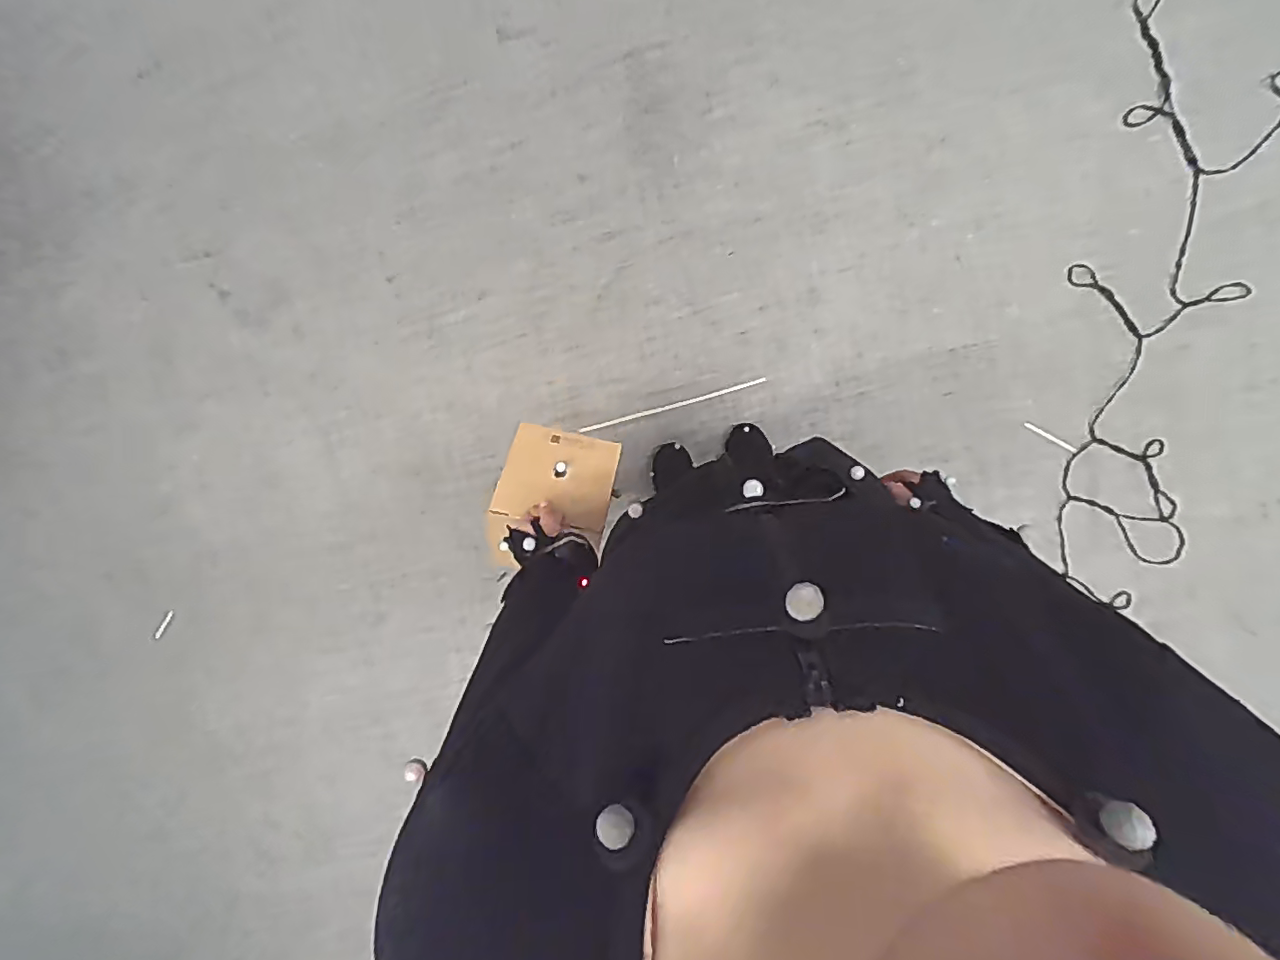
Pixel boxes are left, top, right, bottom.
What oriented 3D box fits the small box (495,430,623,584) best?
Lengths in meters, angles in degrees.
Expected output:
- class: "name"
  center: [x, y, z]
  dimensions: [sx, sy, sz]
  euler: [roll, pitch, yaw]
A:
- class: "small box"
  center: [-0.126, 0.043, 0.875]
  dimensions: [0.168, 0.179, 0.176]
  euler: [13, 55, -1]
